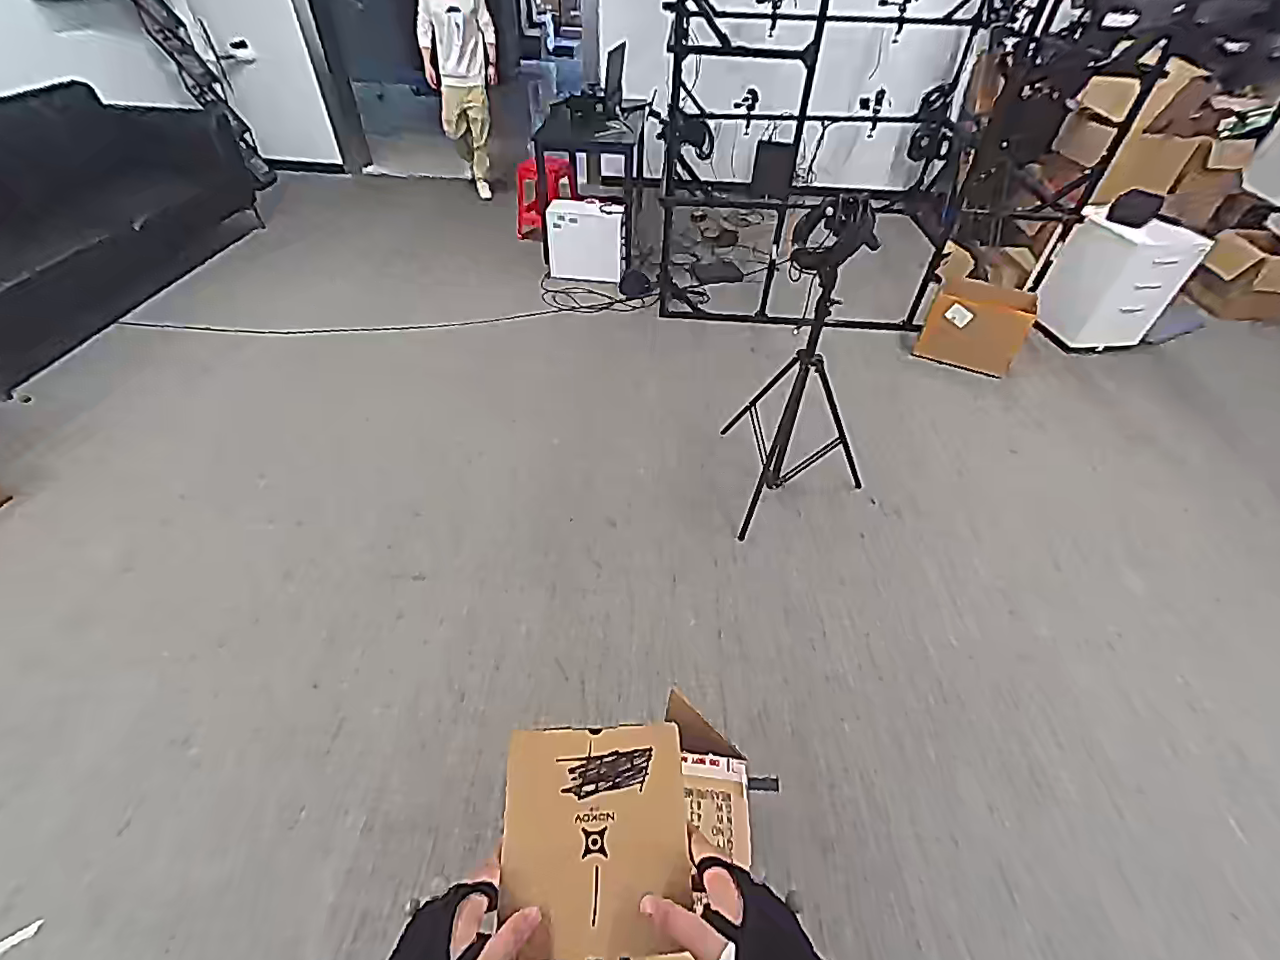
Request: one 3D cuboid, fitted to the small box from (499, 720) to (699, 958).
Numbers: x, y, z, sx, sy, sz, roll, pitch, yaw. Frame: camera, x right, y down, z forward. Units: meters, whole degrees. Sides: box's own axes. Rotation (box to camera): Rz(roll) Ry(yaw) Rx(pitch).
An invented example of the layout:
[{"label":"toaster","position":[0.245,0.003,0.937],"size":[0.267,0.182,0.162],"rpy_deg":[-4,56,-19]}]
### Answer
[{"label":"small box","position":[-0.039,0.360,0.551],"size":[0.168,0.176,0.179],"rpy_deg":[-2,53,-3]}]
